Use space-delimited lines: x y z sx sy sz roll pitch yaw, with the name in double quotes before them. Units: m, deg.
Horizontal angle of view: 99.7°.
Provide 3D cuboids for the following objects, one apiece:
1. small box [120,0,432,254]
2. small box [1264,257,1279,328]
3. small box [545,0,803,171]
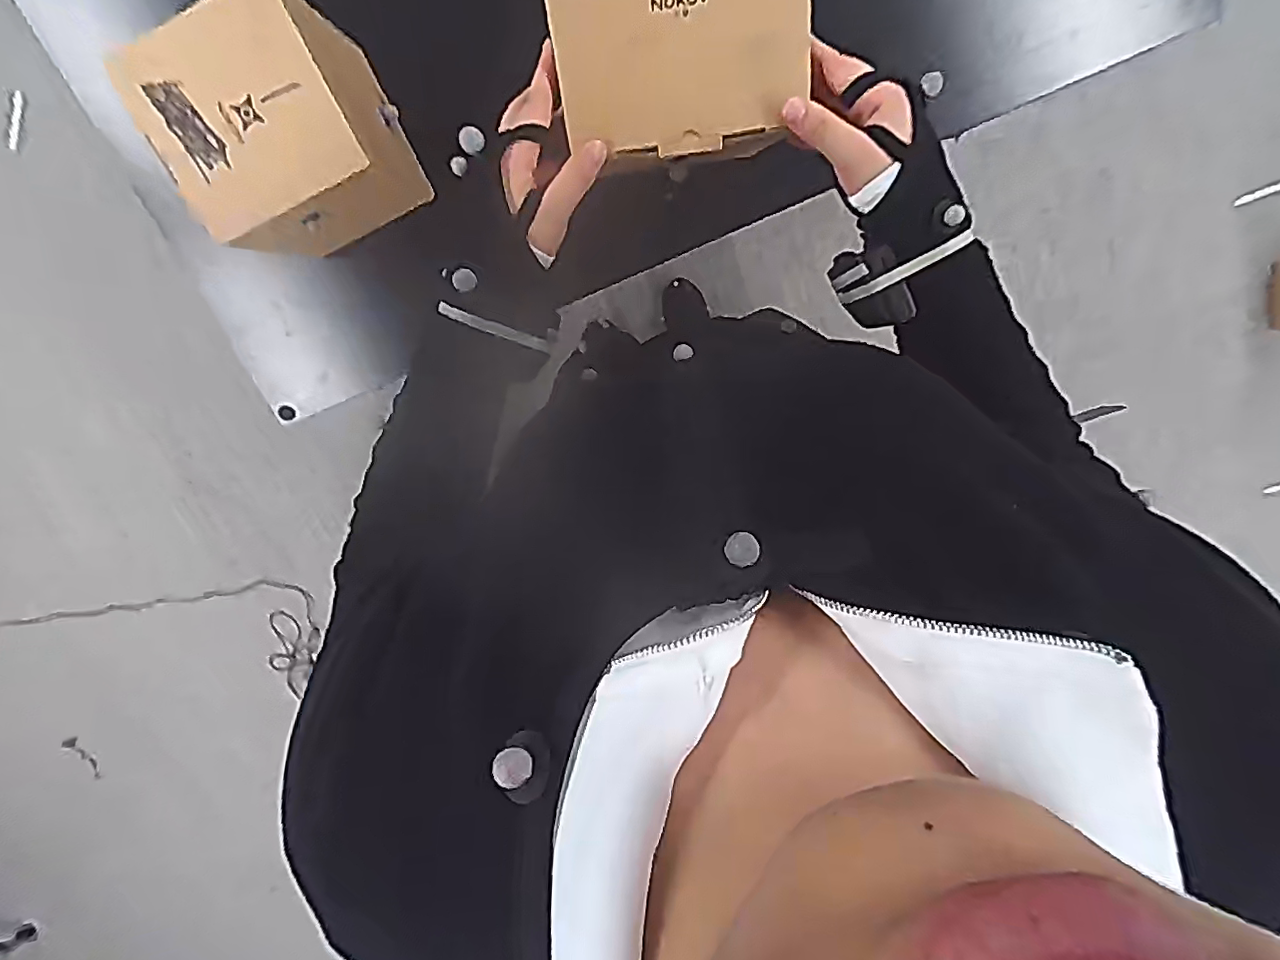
"small box" -0.359 -0.358 0.573 0.179 0.176 0.168 -23 107 7
"small box" 1.636 -0.456 1.267 0.168 0.176 0.179 -19 107 7
"small box" 0.020 -0.344 0.413 0.168 0.176 0.179 -8 117 2
